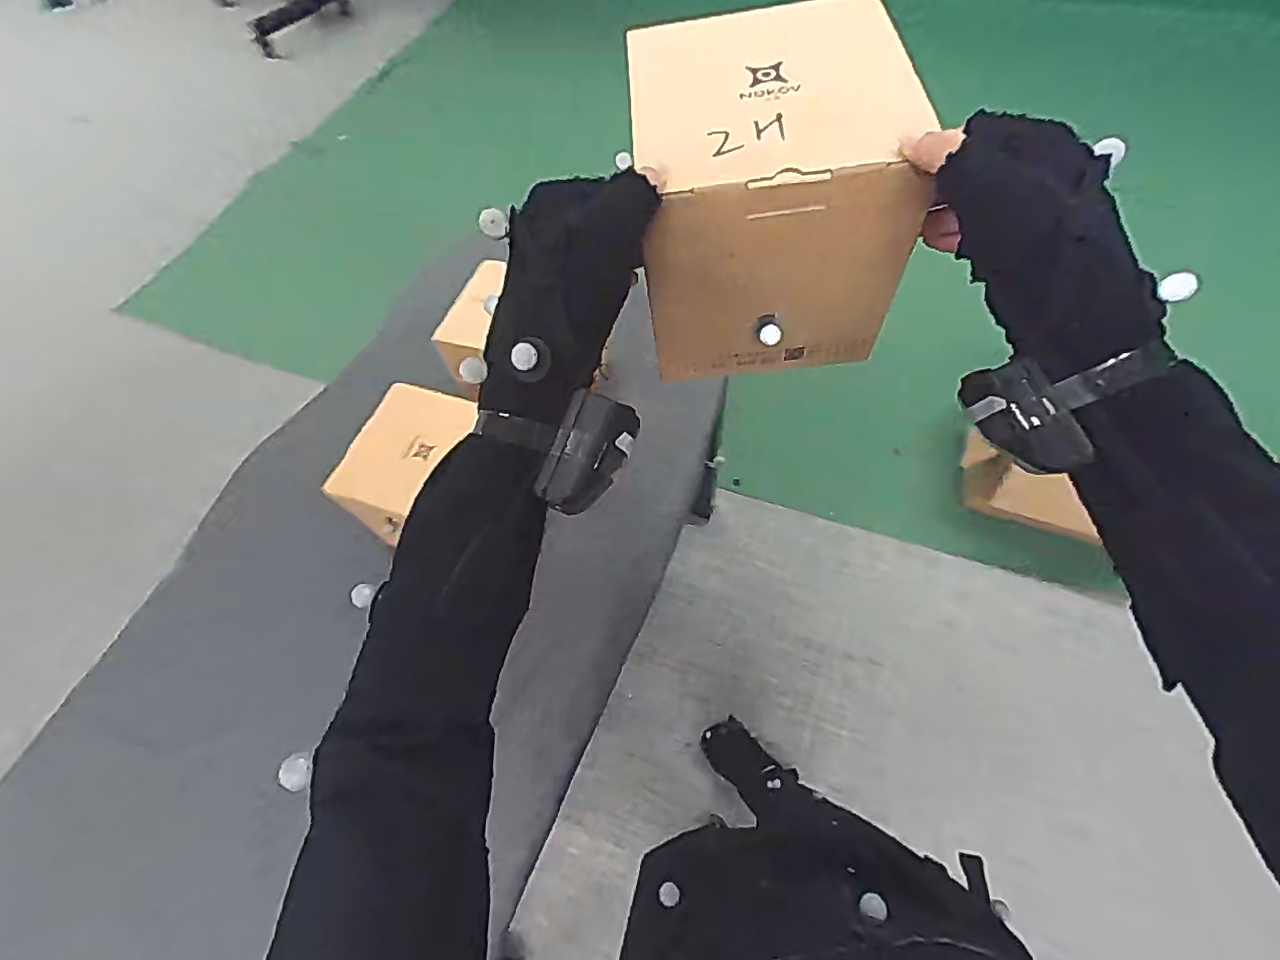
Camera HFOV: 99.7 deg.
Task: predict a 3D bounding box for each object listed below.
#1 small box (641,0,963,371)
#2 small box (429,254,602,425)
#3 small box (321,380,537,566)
[{"bbox_3d":[0.090,-0.202,0.386,0.168,0.176,0.179,-4,63,6],"label":"small box"},{"bbox_3d":[-0.169,-0.203,0.808,0.179,0.176,0.168,14,64,13],"label":"small box"},{"bbox_3d":[-0.257,-0.002,0.711,0.179,0.176,0.168,15,64,13],"label":"small box"}]
